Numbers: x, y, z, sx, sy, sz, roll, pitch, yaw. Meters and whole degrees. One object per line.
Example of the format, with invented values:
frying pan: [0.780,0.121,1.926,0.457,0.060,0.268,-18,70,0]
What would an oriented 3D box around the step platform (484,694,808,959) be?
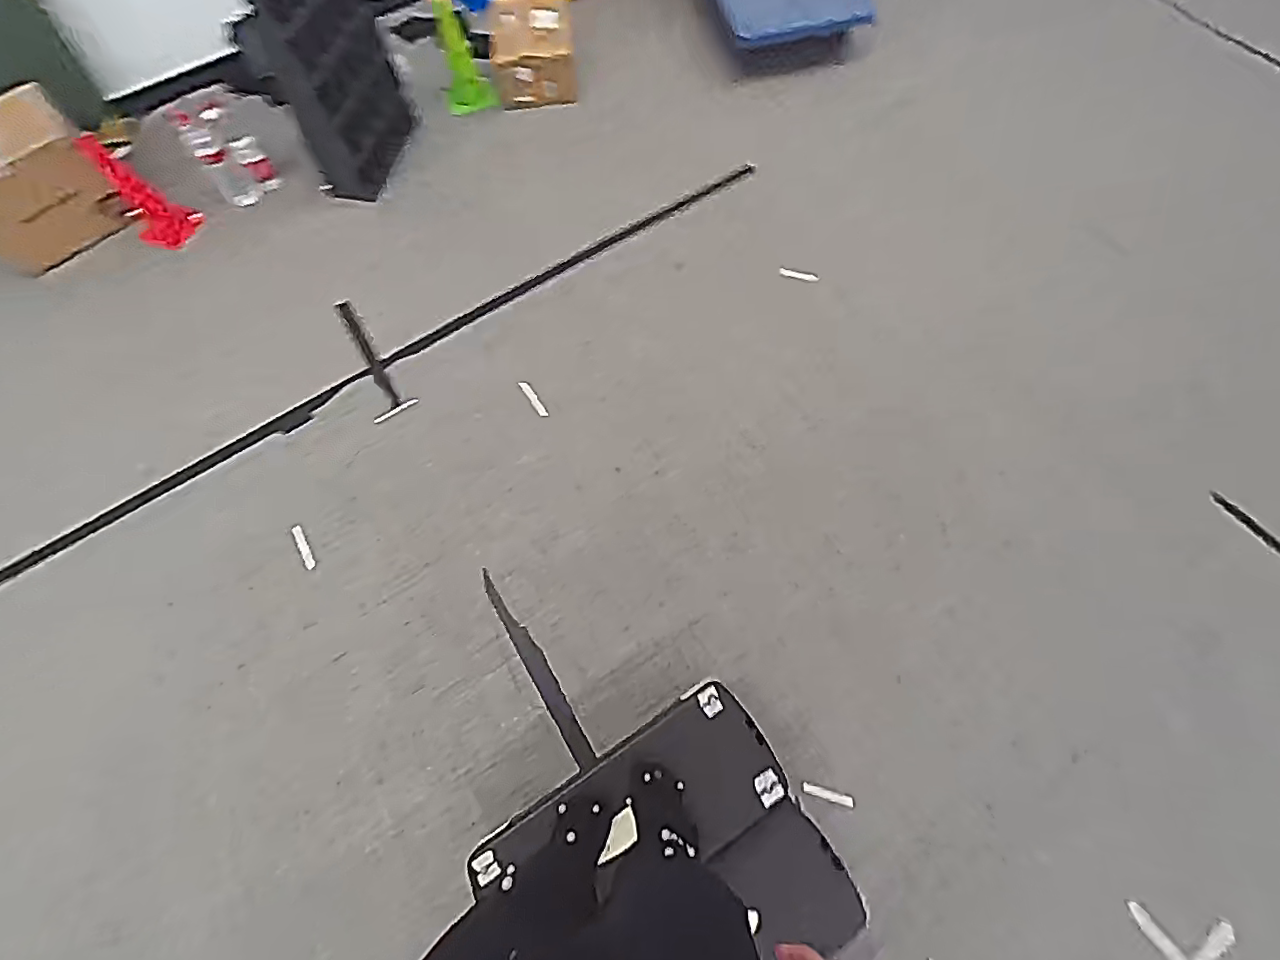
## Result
step platform: [0.017,0.762,1.181,0.684,0.204,0.286,-28,67,-11]
